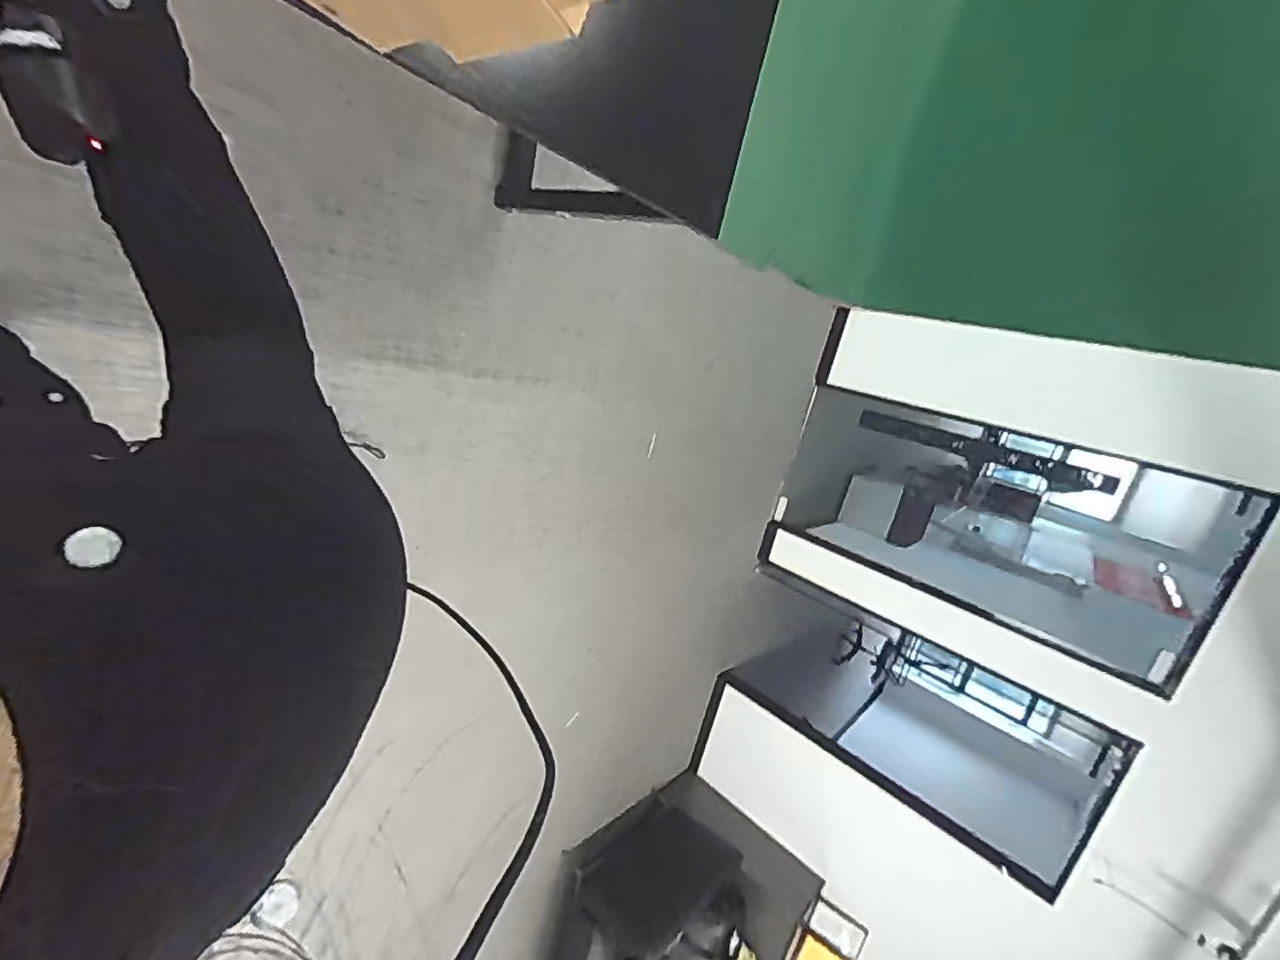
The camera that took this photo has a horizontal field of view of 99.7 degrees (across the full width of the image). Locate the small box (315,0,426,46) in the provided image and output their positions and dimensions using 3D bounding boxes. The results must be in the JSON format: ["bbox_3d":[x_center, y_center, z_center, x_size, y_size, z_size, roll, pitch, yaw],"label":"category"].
[{"bbox_3d":[-0.244,-0.517,0.460,0.168,0.176,0.179,4,107,-52],"label":"small box"}]
